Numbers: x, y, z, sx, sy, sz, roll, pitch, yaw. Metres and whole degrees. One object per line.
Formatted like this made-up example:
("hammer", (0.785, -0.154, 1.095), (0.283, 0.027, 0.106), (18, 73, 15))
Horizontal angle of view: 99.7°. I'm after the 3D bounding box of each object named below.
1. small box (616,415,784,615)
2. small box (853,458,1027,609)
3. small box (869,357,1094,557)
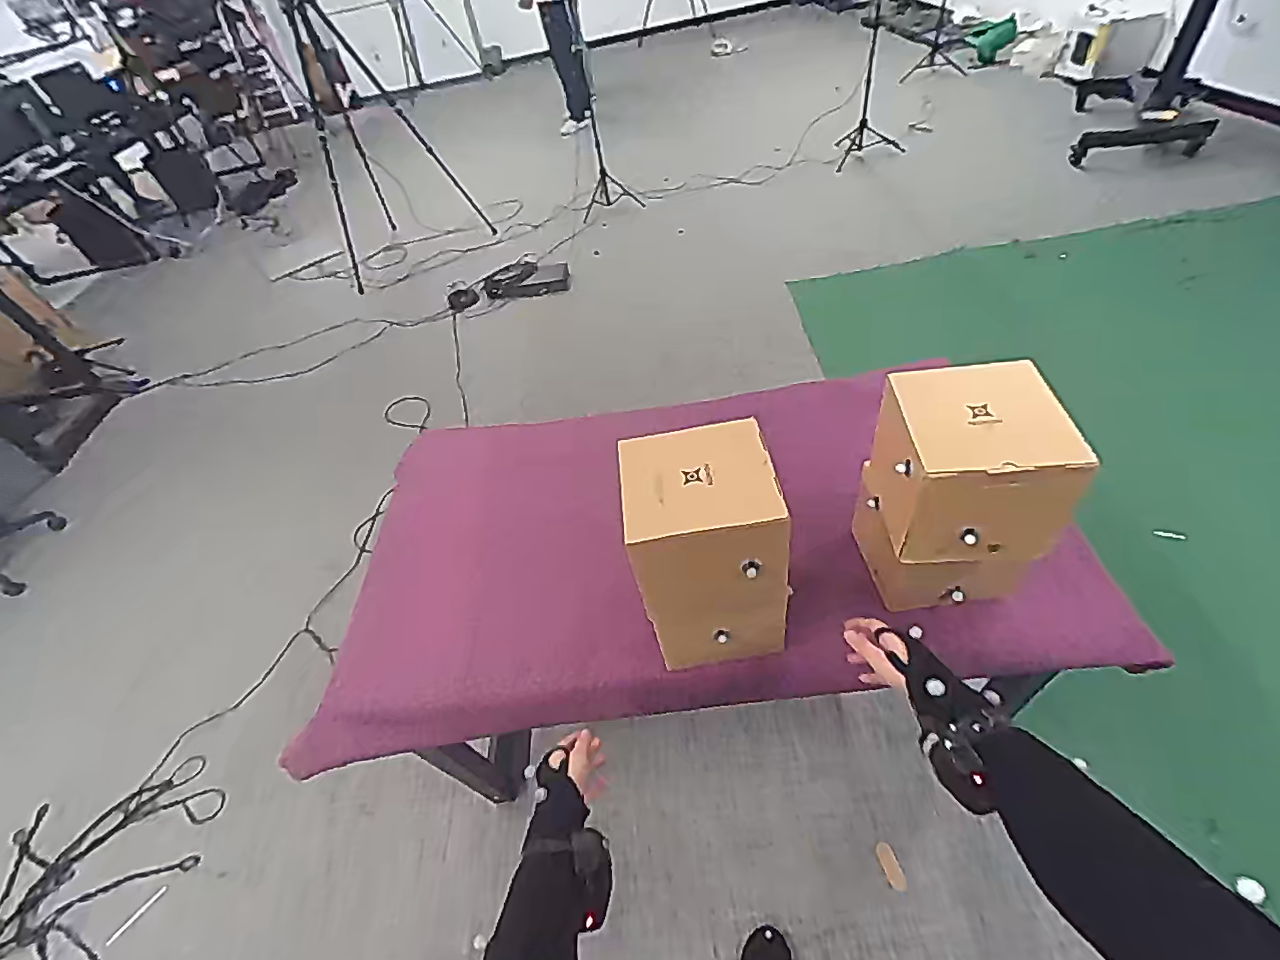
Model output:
("small box", (0.072, 0.047, 0.671), (0.179, 0.176, 0.168), (-10, 45, 5))
("small box", (0.432, 0.069, 0.795), (0.179, 0.176, 0.168), (-10, 45, 5))
("small box", (0.392, -0.025, 0.665), (0.168, 0.176, 0.179), (-4, 48, 10))
